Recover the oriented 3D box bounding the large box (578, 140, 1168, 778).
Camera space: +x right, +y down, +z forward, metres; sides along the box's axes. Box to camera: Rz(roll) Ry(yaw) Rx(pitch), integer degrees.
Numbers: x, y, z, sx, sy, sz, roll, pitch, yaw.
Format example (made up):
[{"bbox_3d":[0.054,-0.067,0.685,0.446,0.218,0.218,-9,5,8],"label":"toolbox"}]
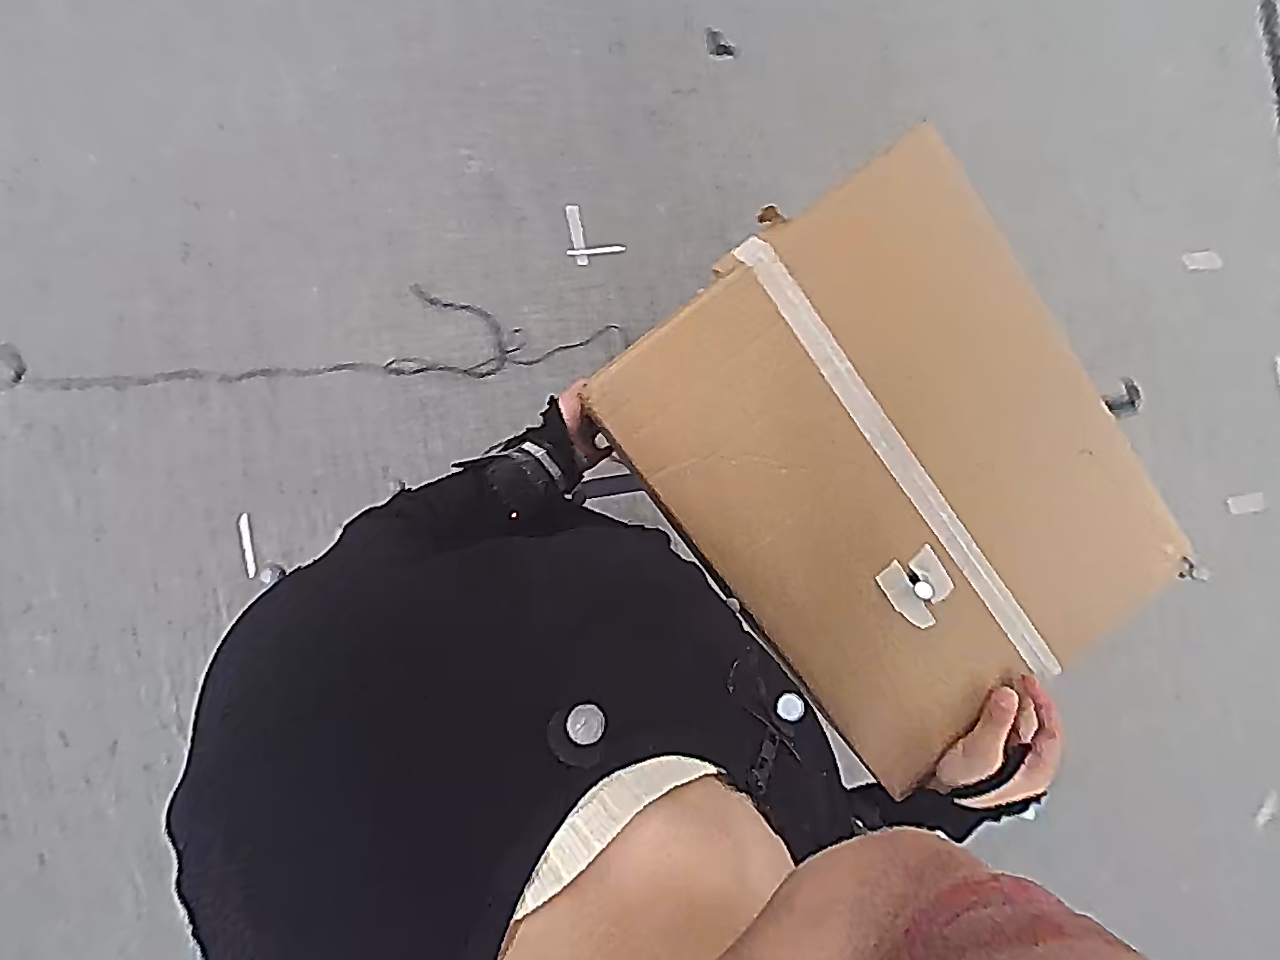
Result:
[{"bbox_3d":[0.178,-0.018,0.558,0.320,0.320,0.408,-39,99,0],"label":"large box"}]
